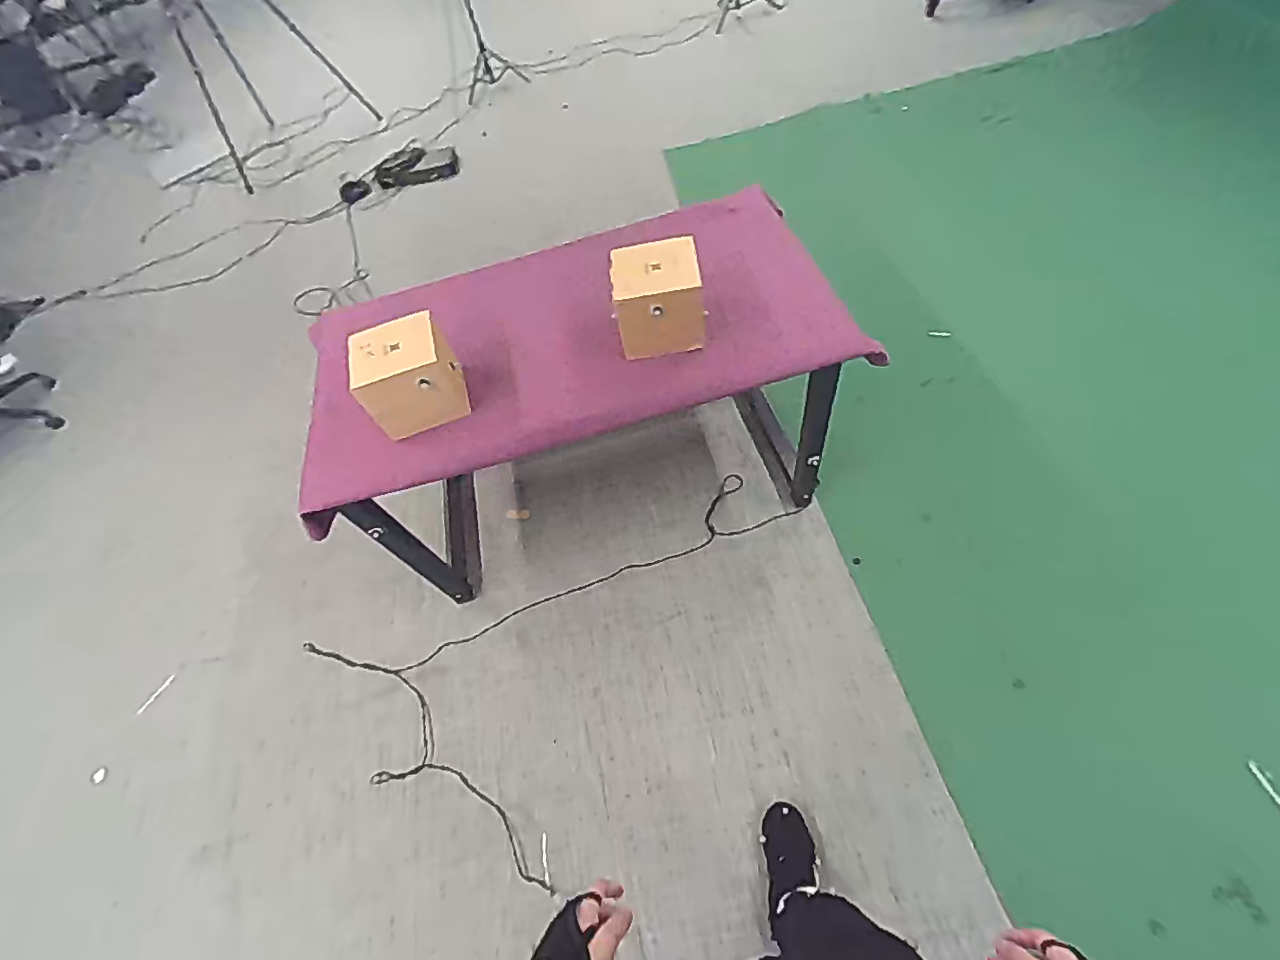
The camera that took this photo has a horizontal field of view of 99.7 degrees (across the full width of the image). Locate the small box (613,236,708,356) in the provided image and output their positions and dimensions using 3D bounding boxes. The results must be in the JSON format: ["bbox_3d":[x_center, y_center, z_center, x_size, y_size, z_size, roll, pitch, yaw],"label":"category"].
[{"bbox_3d":[0.045,-0.381,1.144,0.179,0.176,0.168,-7,58,6],"label":"small box"}]

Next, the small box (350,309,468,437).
[{"bbox_3d":[-0.477,-0.220,1.136,0.179,0.176,0.168,-20,57,-2],"label":"small box"}]
